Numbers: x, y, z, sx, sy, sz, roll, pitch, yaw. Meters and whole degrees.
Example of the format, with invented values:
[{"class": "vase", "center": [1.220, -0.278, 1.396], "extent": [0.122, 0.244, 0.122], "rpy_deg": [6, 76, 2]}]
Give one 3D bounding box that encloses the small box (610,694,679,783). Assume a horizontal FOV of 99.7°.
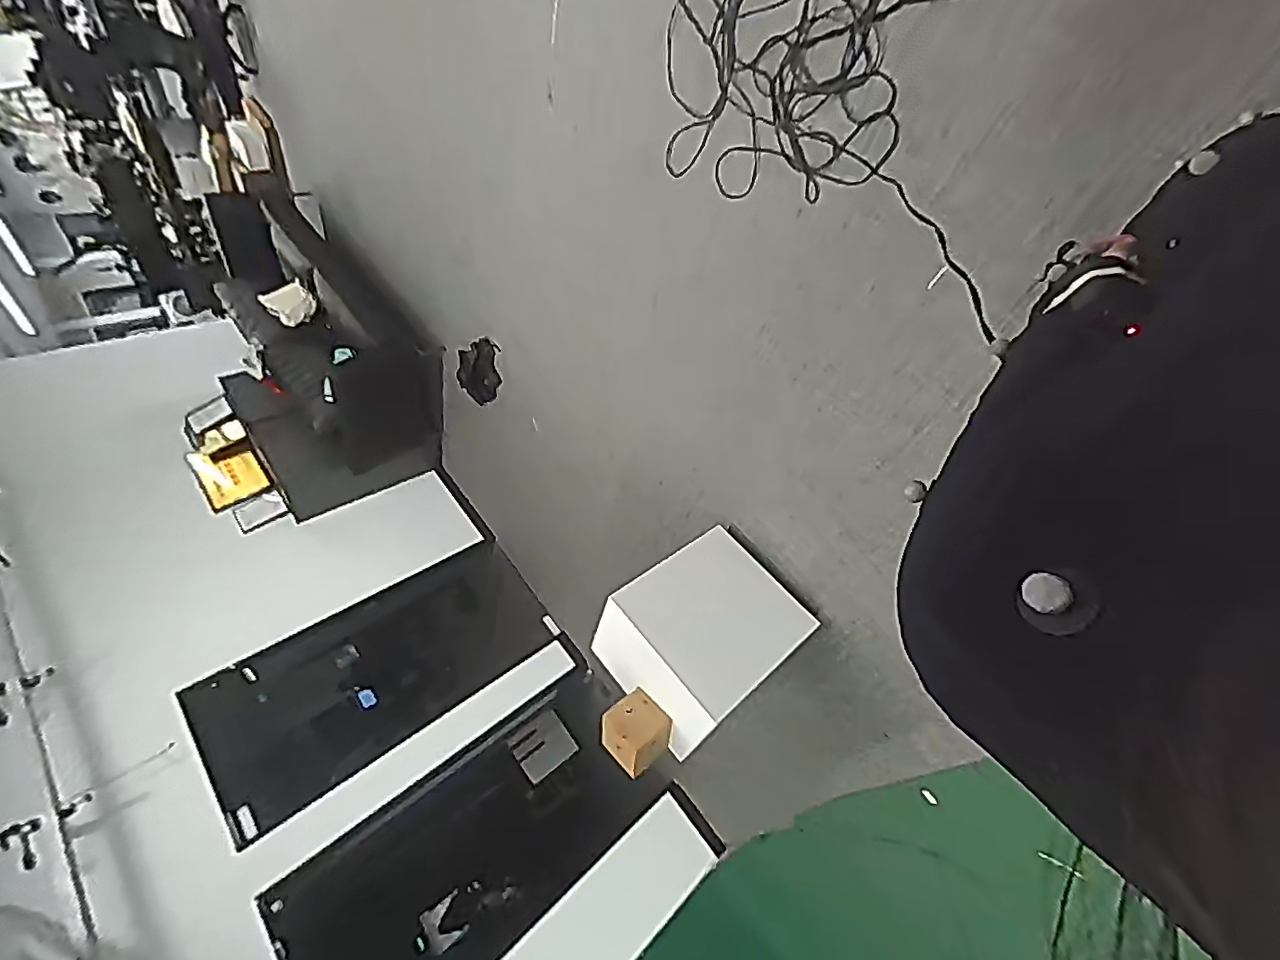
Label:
[{"class": "small box", "center": [0.016, 0.858, 1.809], "extent": [0.168, 0.176, 0.179], "rpy_deg": [33, 137, 37]}]
